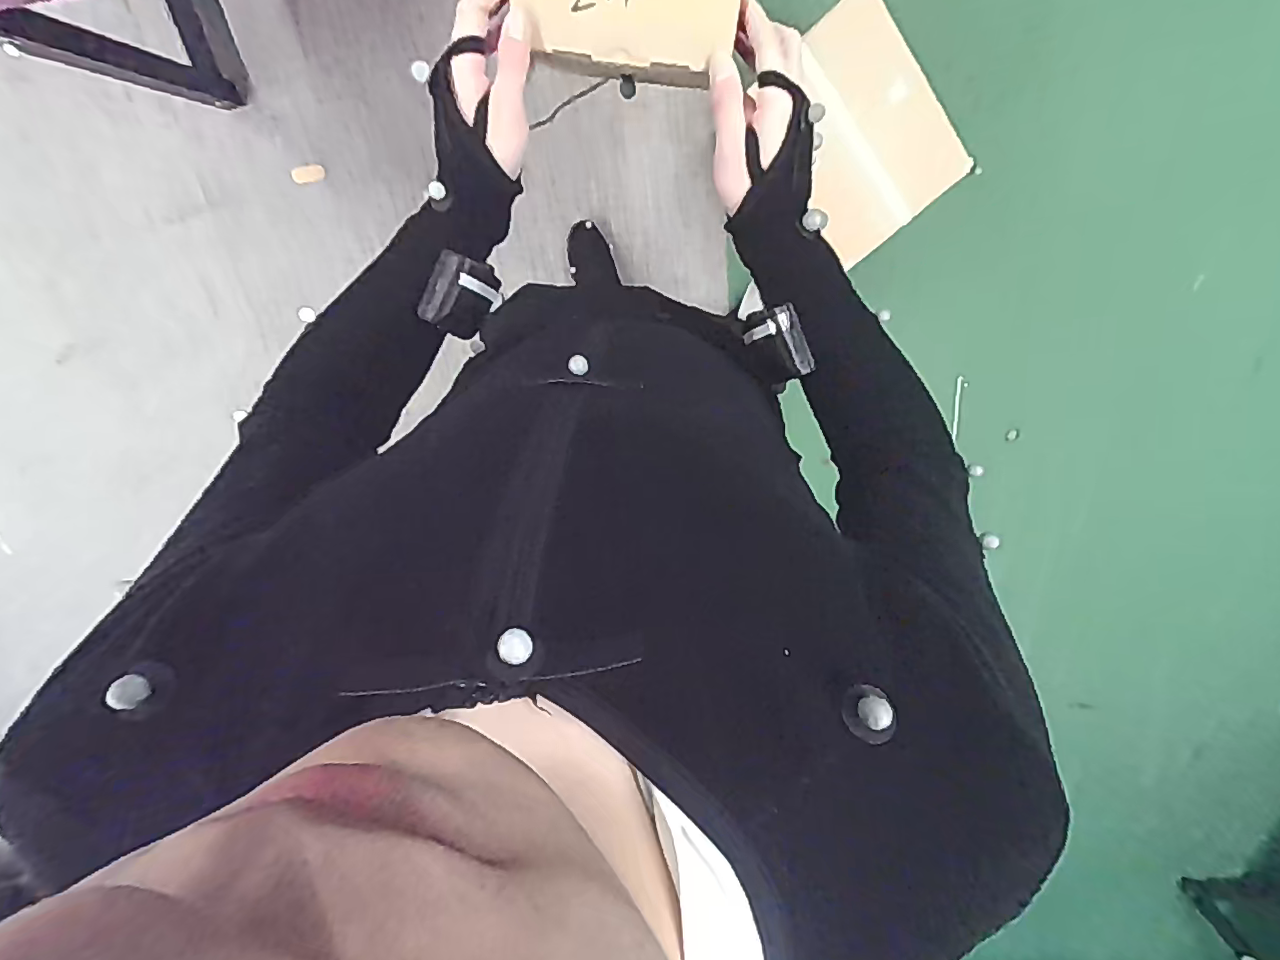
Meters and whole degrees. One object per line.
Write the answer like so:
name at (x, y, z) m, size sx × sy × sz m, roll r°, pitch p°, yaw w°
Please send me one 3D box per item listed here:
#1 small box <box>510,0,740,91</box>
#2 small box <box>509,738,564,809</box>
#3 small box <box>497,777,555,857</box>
small box at (-0.001, -0.428, 0.423) m, size 0.168 × 0.176 × 0.179 m, roll 7°, pitch 122°, yaw 0°
small box at (-0.391, 1.130, 2.079) m, size 0.168 × 0.176 × 0.179 m, roll 0°, pitch 113°, yaw 4°
small box at (-0.402, 1.201, 1.932) m, size 0.168 × 0.176 × 0.179 m, roll 3°, pitch 113°, yaw 2°
